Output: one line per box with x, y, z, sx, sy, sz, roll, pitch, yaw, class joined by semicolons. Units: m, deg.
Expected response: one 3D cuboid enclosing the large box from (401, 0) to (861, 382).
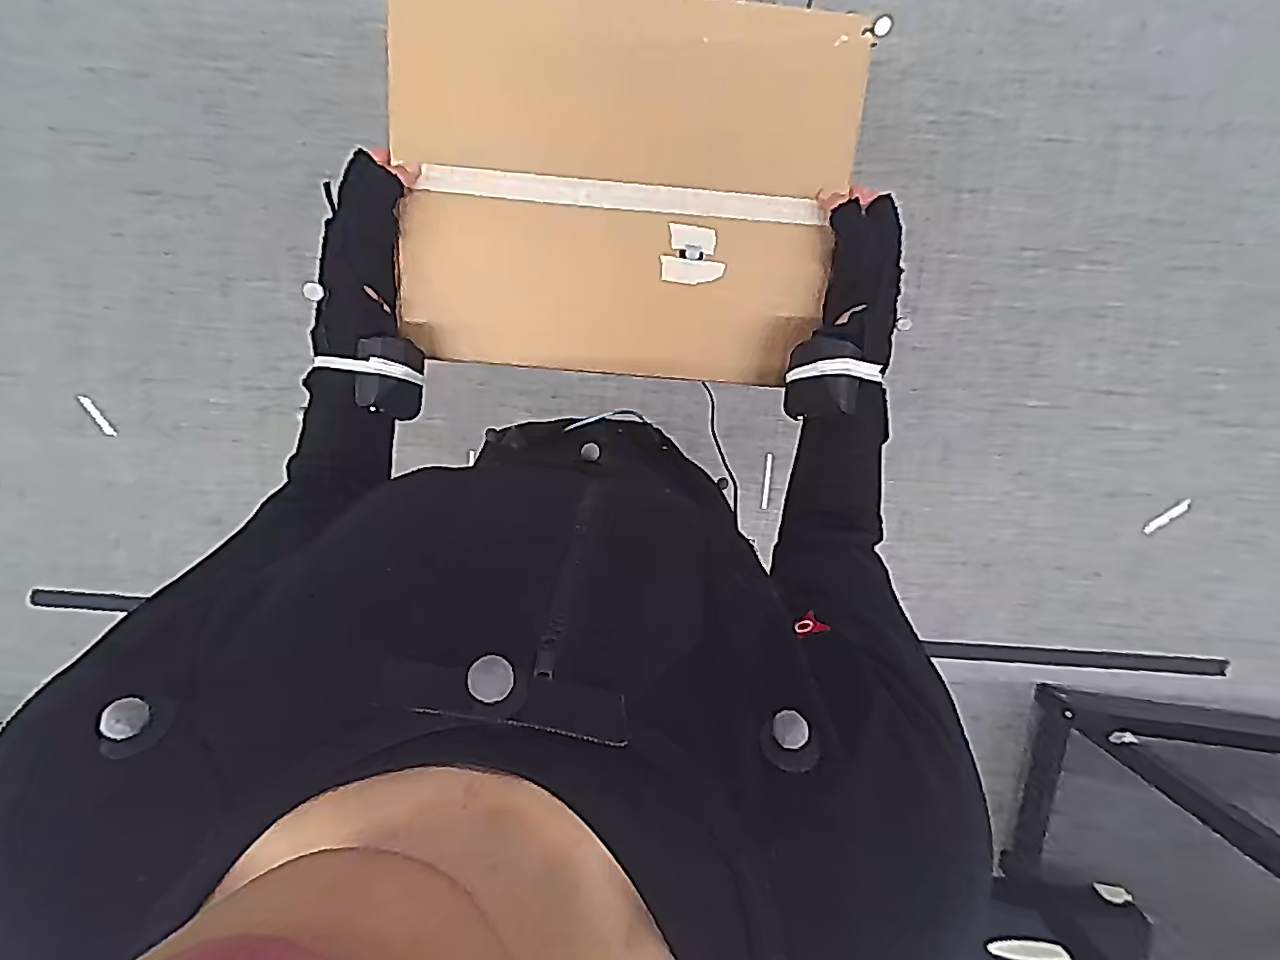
-0.020;-0.293;0.642;0.408;0.320;0.320;3;105;-4;large box
